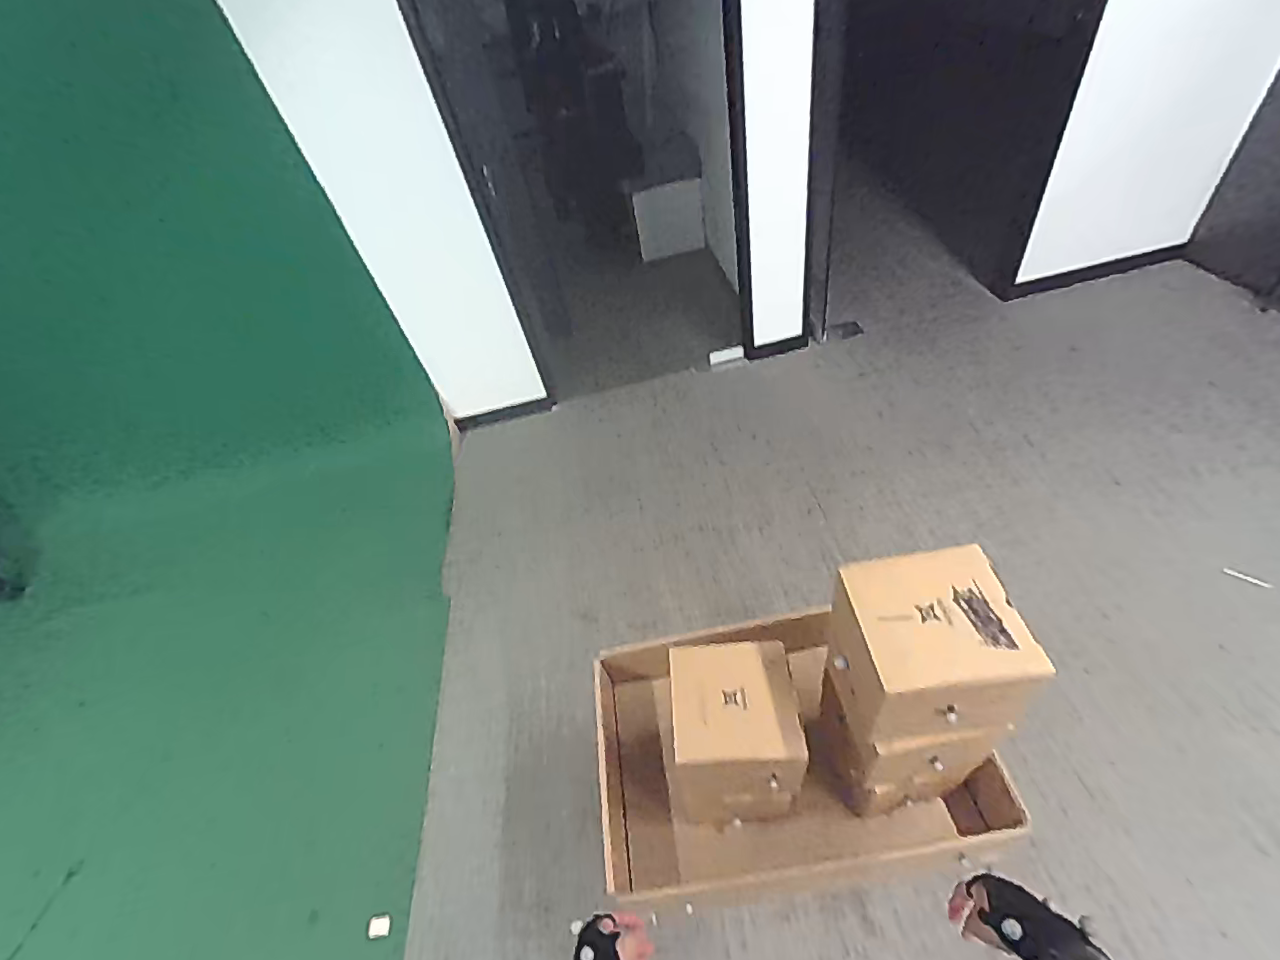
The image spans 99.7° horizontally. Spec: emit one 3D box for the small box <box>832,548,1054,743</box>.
[{"bbox_3d":[0.352,0.209,0.673,0.179,0.176,0.168,-10,45,6],"label":"small box"}]

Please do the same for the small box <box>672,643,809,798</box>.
[{"bbox_3d":[0.142,0.362,0.812,0.179,0.176,0.168,-5,44,6],"label":"small box"}]
